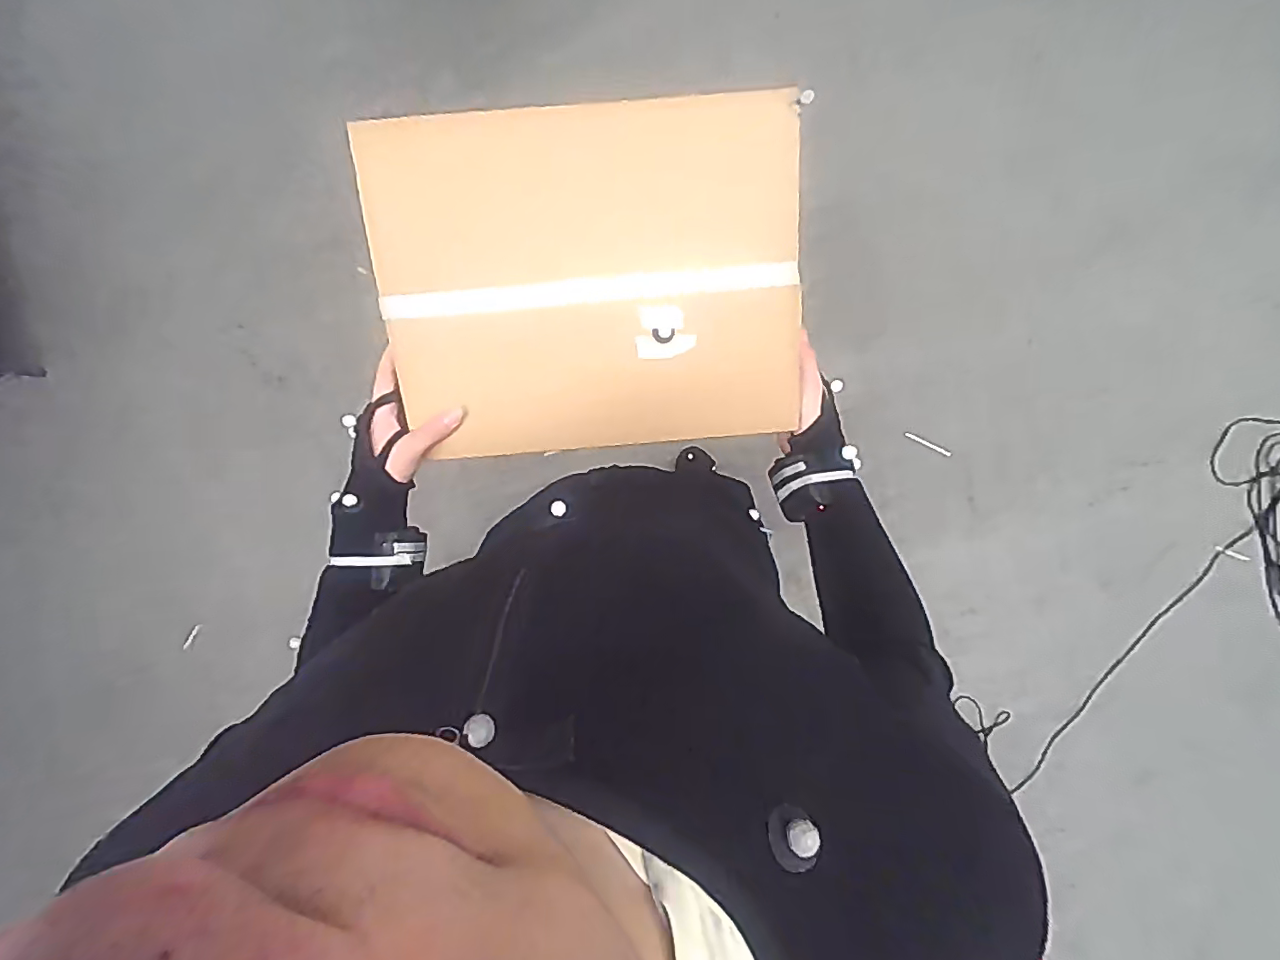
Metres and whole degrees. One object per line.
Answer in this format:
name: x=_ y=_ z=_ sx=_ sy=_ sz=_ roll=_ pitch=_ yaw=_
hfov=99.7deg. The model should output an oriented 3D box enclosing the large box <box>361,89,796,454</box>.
large box: x=-0.052 y=-0.233 z=0.675 sx=0.408 sy=0.320 sz=0.320 roll=-5 pitch=107 yaw=-1
